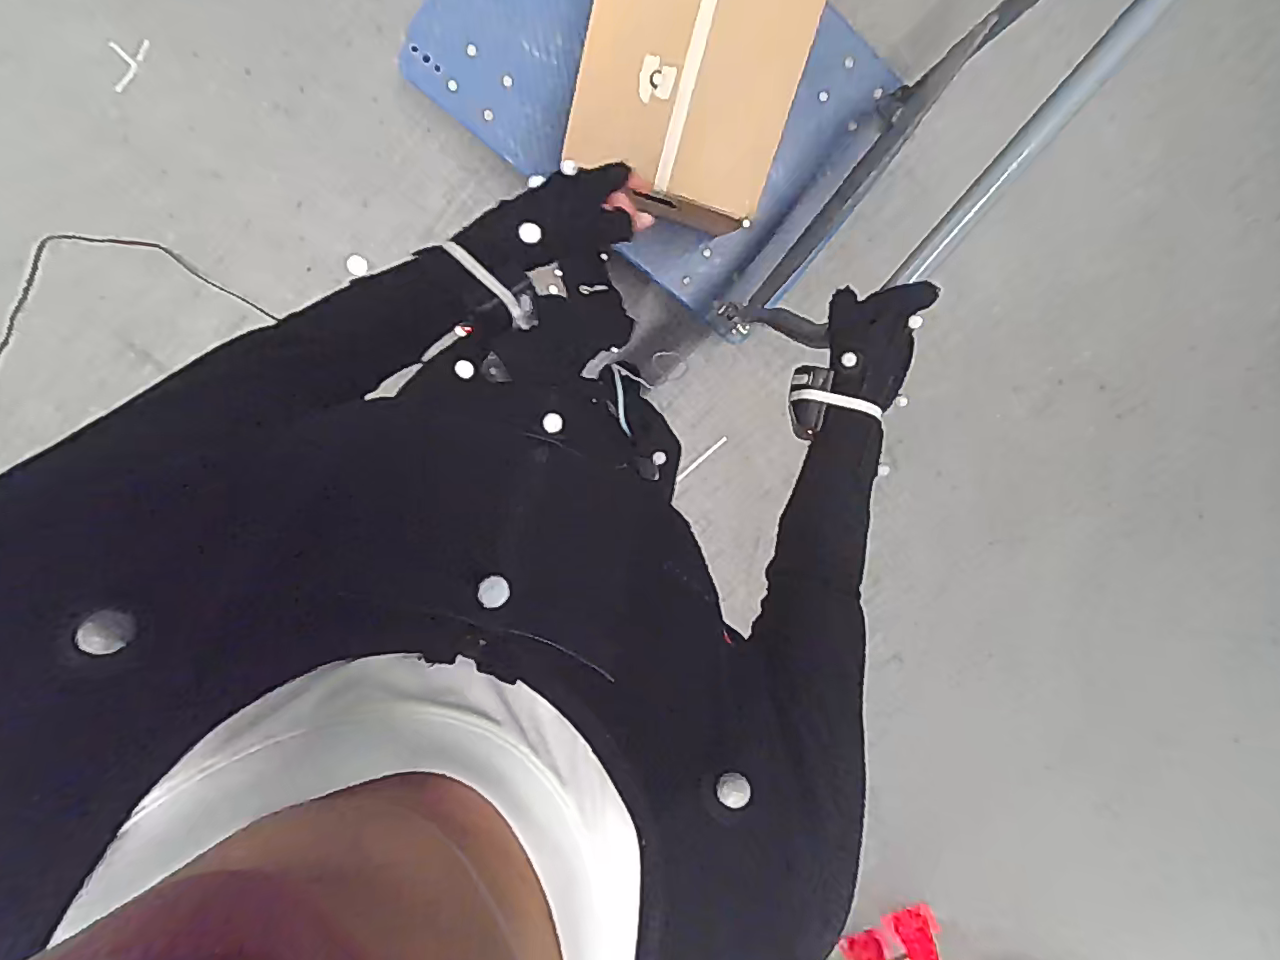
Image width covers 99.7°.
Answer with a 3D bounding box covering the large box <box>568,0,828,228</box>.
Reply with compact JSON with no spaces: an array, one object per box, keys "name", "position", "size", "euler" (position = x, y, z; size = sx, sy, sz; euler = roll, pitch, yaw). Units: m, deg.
[{"name":"large box","position":[0.085,-0.685,0.904],"size":[0.320,0.320,0.408],"euler":[16,111,-7]}]
